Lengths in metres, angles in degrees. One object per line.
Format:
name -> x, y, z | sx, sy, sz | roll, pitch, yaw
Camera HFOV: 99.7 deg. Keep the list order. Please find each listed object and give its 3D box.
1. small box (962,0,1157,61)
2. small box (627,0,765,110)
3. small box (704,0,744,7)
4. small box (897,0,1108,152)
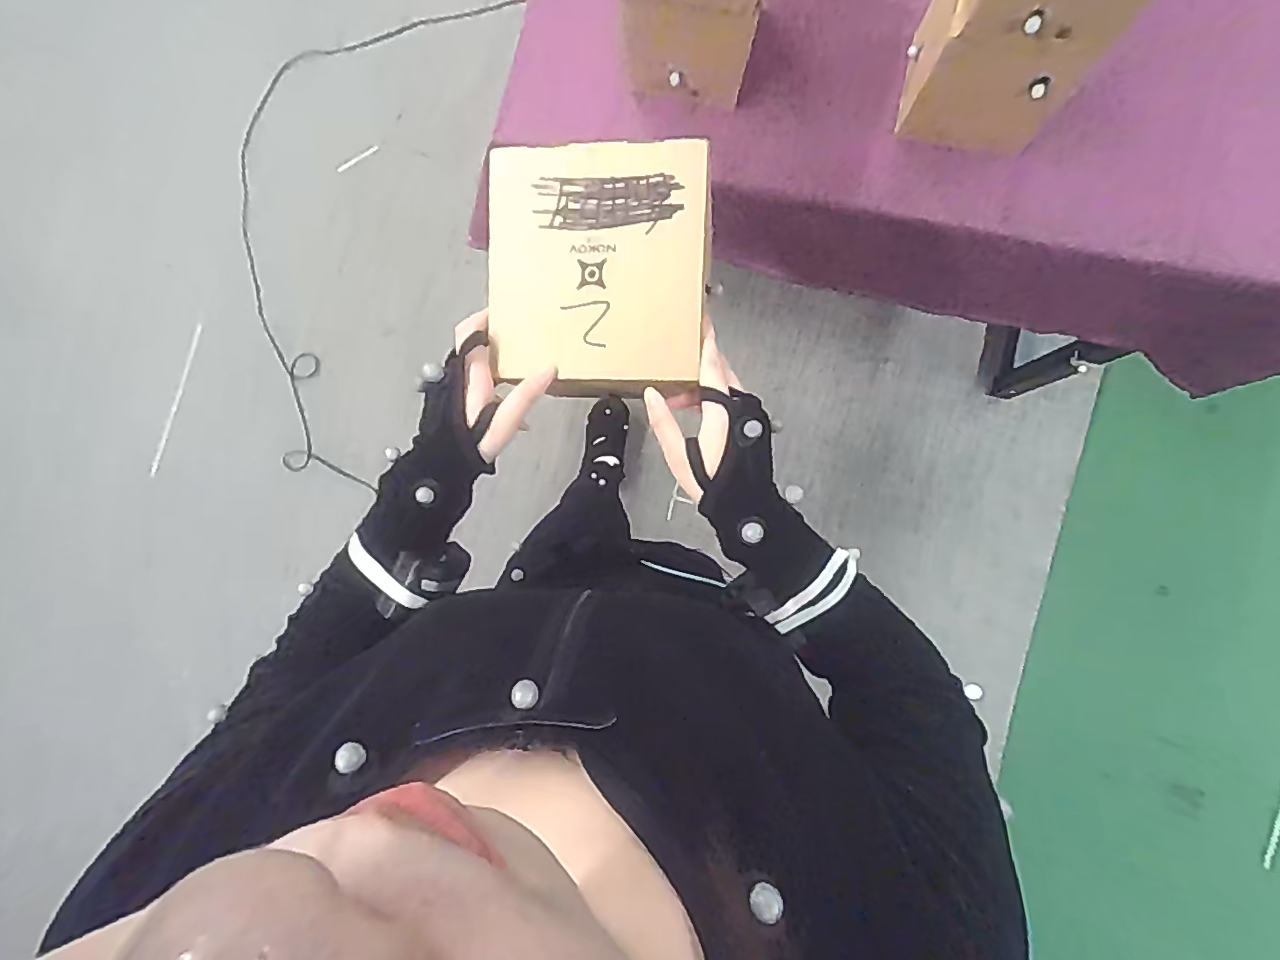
small box -> 0.455, -0.577, 0.539 | 0.168, 0.176, 0.179 | 12, 88, 6
small box -> 0.082, -0.660, 0.738 | 0.168, 0.176, 0.179 | 15, 88, 5
small box -> 0.064, -0.665, 0.575 | 0.168, 0.176, 0.179 | 15, 88, 5
small box -> 0.468, -0.563, 0.701 | 0.179, 0.176, 0.168 | 13, 87, 5
